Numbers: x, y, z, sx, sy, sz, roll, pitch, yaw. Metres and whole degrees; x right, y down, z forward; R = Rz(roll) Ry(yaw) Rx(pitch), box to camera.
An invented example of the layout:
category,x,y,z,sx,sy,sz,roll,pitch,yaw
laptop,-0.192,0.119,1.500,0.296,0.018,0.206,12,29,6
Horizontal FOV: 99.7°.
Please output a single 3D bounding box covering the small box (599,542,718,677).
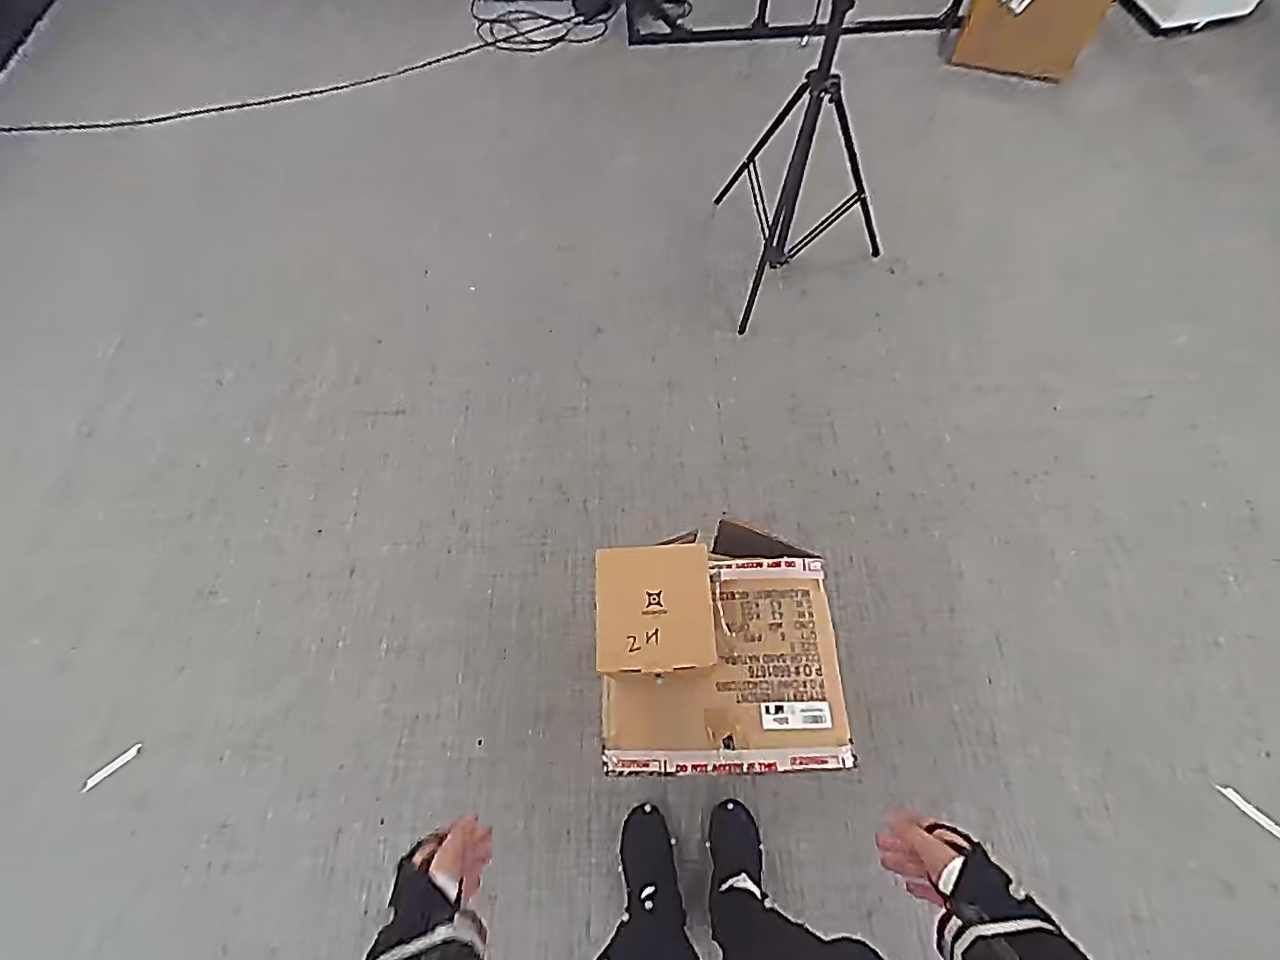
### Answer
category,x,y,z,sx,sy,sz,roll,pitch,yaw
small box,0.027,0.206,0.839,0.168,0.176,0.179,-4,68,3
